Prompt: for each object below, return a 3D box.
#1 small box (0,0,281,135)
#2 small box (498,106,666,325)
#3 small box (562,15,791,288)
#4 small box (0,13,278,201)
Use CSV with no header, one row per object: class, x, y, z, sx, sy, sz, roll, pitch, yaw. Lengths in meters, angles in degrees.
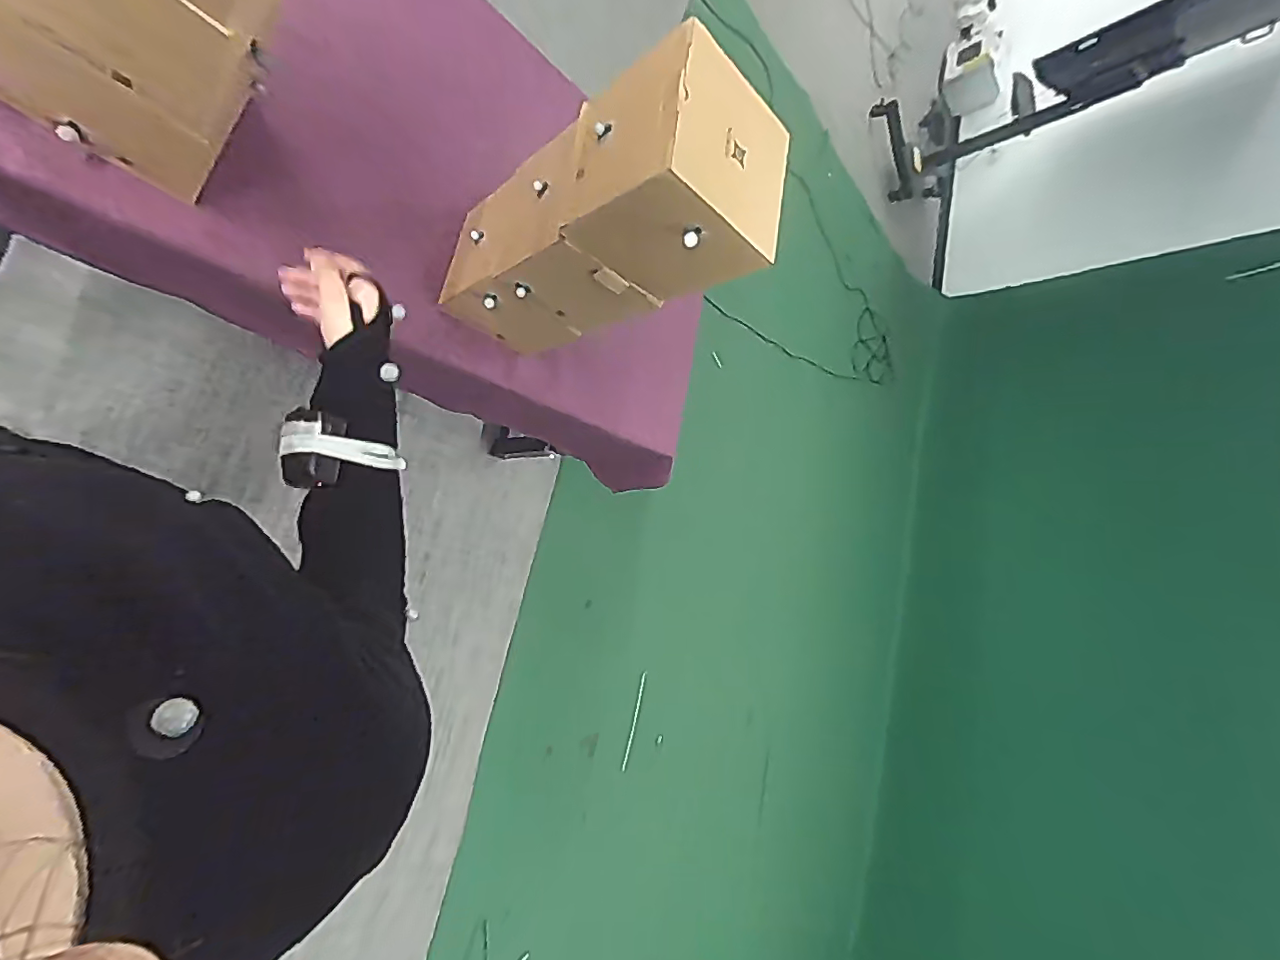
small box,-0.388,-0.427,0.419,0.168,0.176,0.179,25,72,-39
small box,-0.069,-0.331,0.721,0.168,0.176,0.179,19,76,-42
small box,0.041,-0.335,0.601,0.179,0.176,0.168,17,78,-41
small box,-0.501,-0.426,0.539,0.168,0.176,0.179,26,73,-40
